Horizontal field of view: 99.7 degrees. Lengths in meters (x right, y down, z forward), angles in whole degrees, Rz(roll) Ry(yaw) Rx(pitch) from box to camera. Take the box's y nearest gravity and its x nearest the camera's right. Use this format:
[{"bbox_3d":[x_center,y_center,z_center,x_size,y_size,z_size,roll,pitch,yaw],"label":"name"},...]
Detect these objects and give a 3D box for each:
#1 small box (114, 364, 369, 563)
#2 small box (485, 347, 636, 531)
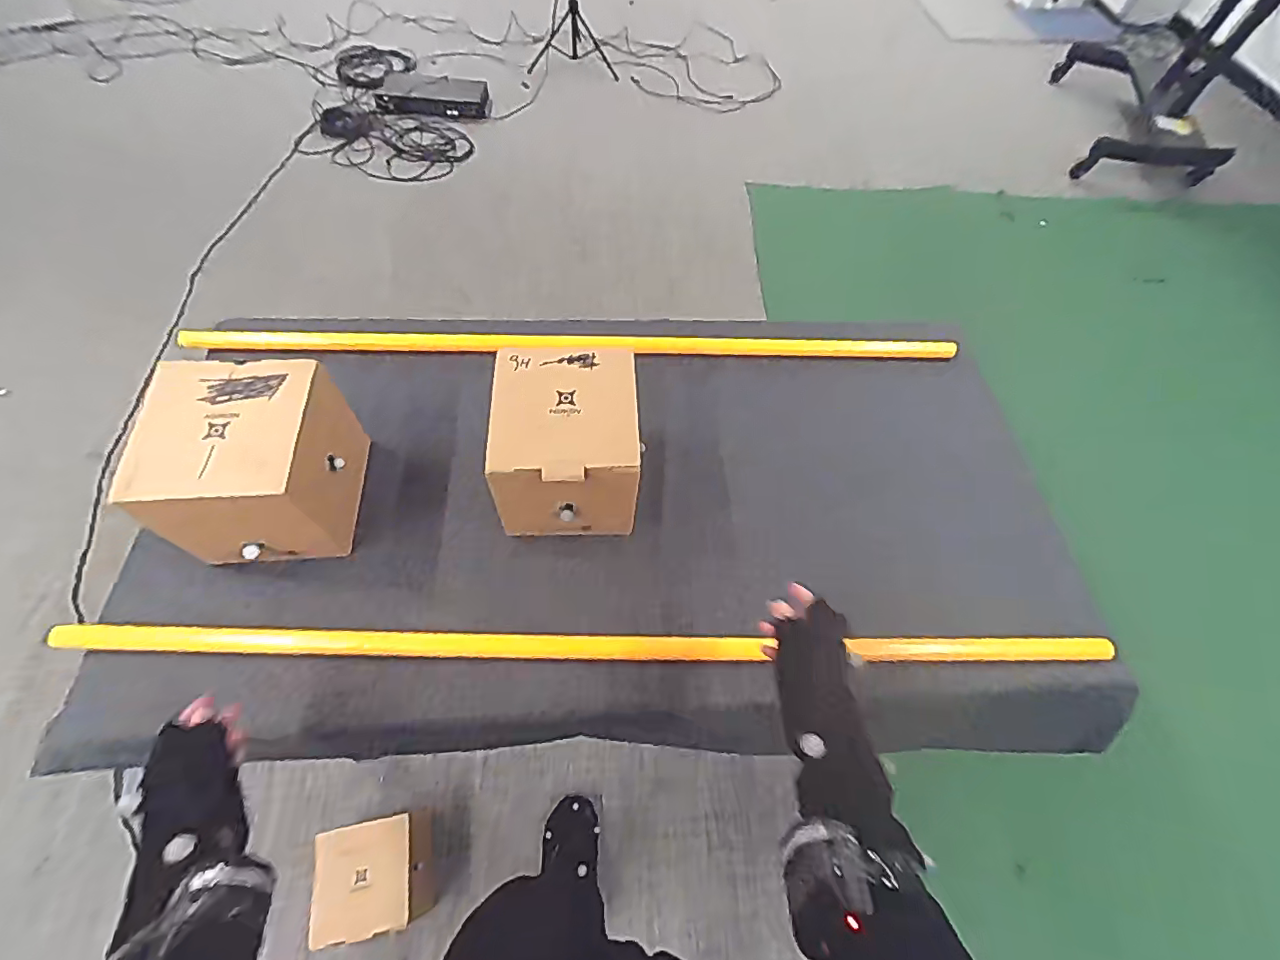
[{"bbox_3d":[-0.442,-0.016,0.641,0.168,0.176,0.179,-3,61,-6],"label":"small box"},{"bbox_3d":[-0.093,-0.043,0.685,0.168,0.176,0.179,-4,60,-5],"label":"small box"}]
